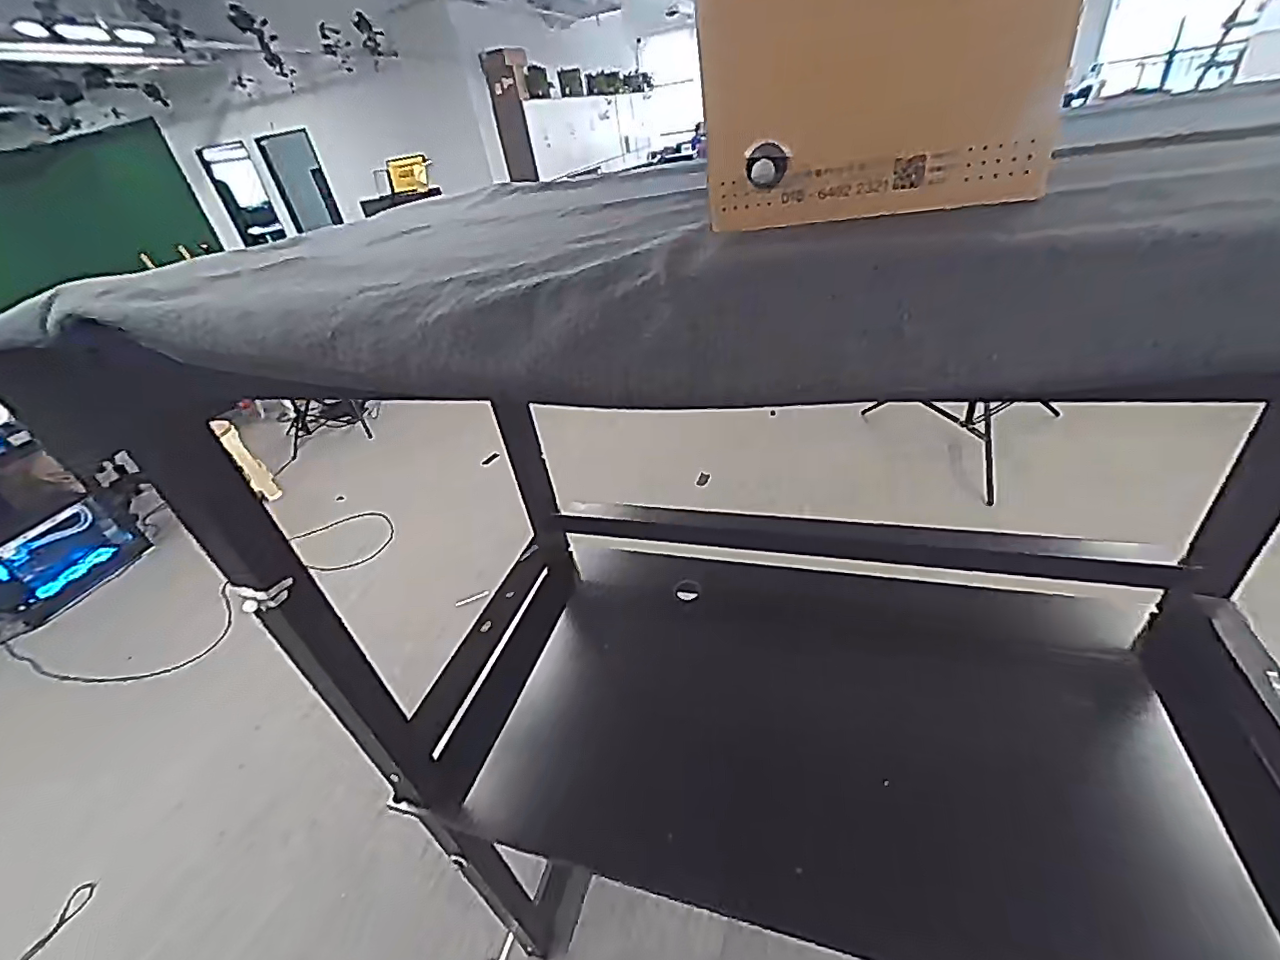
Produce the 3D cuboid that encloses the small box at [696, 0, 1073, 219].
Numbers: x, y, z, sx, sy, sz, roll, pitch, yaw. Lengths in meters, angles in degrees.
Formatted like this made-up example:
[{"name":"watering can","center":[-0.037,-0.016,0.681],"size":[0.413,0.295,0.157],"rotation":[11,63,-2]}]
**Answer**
[{"name":"small box","center":[0.131,-0.256,0.312],"size":[0.168,0.176,0.179],"rotation":[3,34,18]}]
